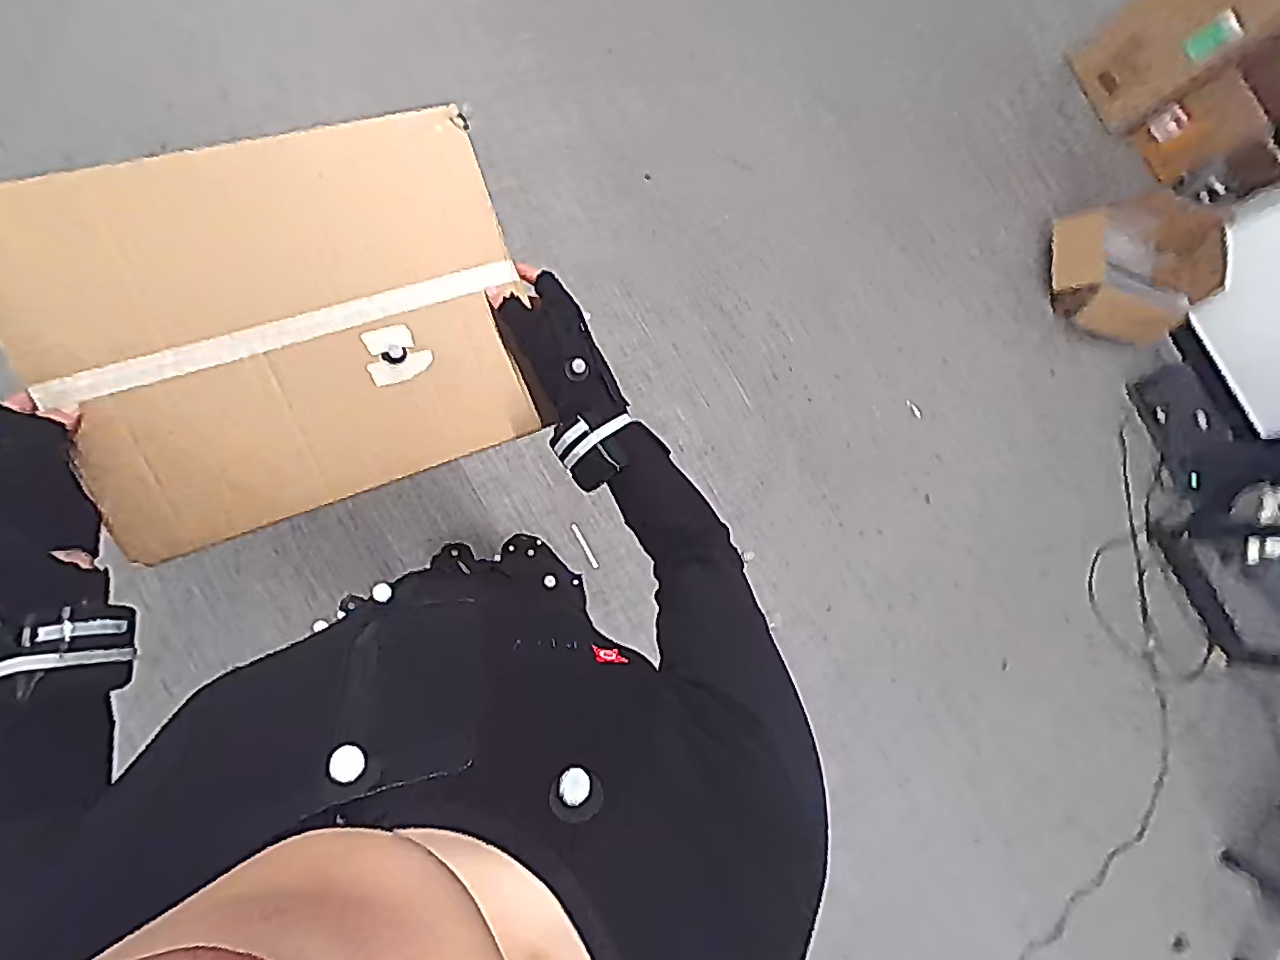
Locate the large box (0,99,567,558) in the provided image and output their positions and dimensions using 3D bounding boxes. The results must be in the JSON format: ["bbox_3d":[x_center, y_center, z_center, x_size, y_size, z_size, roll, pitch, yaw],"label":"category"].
[{"bbox_3d":[-0.350,-0.158,0.631,0.408,0.320,0.320,-24,103,-16],"label":"large box"}]
